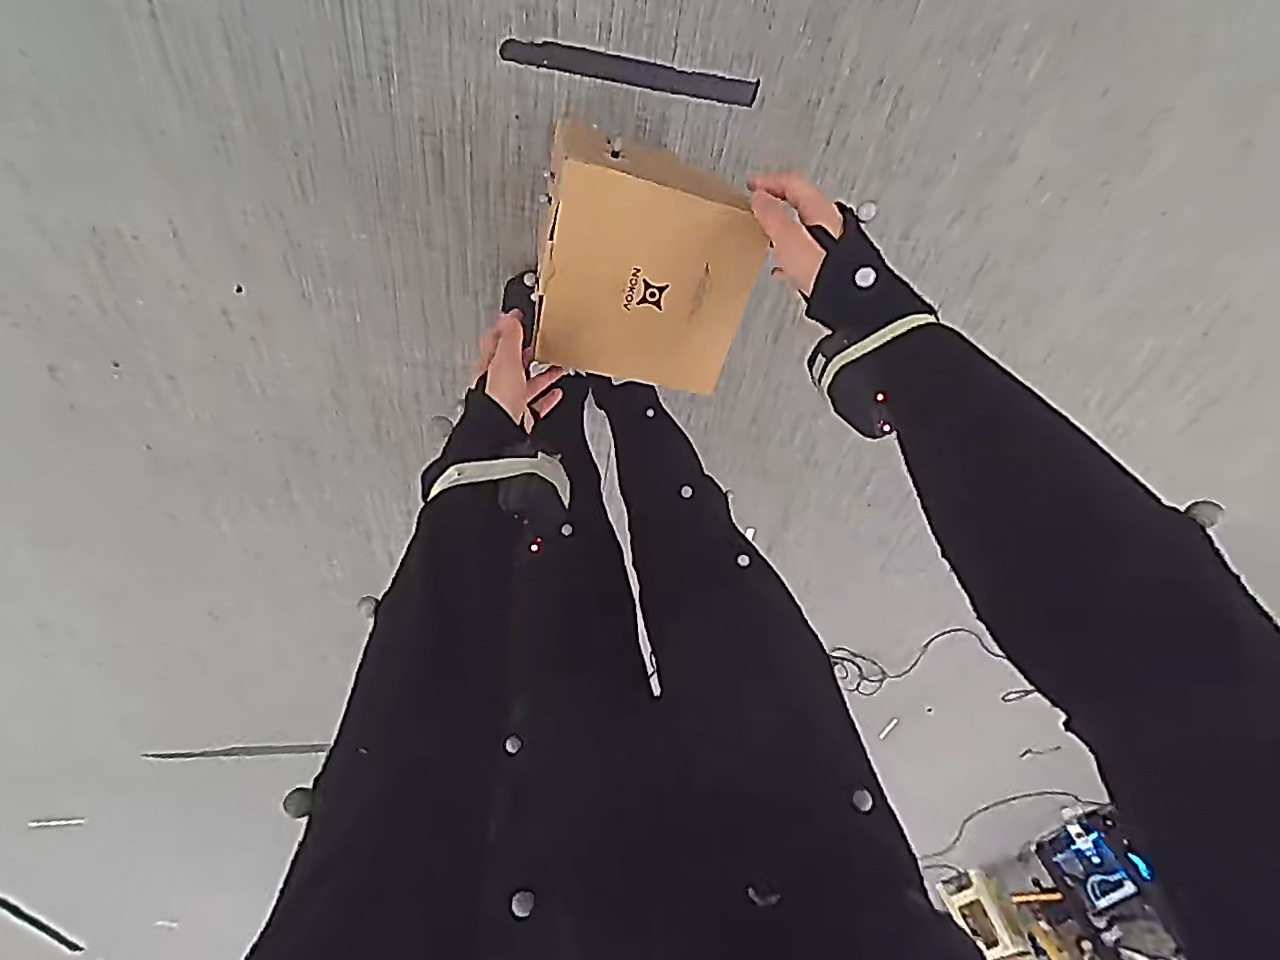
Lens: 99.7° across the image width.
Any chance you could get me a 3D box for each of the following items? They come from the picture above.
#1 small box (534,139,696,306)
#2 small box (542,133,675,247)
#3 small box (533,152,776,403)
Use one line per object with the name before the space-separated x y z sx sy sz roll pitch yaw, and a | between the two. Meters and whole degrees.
small box | -0.023 -0.292 0.655 0.179 0.176 0.168 11 126 -16
small box | -0.043 -0.386 0.789 0.179 0.176 0.168 8 126 -15
small box | -0.002 -0.199 0.524 0.179 0.176 0.168 8 127 -15
